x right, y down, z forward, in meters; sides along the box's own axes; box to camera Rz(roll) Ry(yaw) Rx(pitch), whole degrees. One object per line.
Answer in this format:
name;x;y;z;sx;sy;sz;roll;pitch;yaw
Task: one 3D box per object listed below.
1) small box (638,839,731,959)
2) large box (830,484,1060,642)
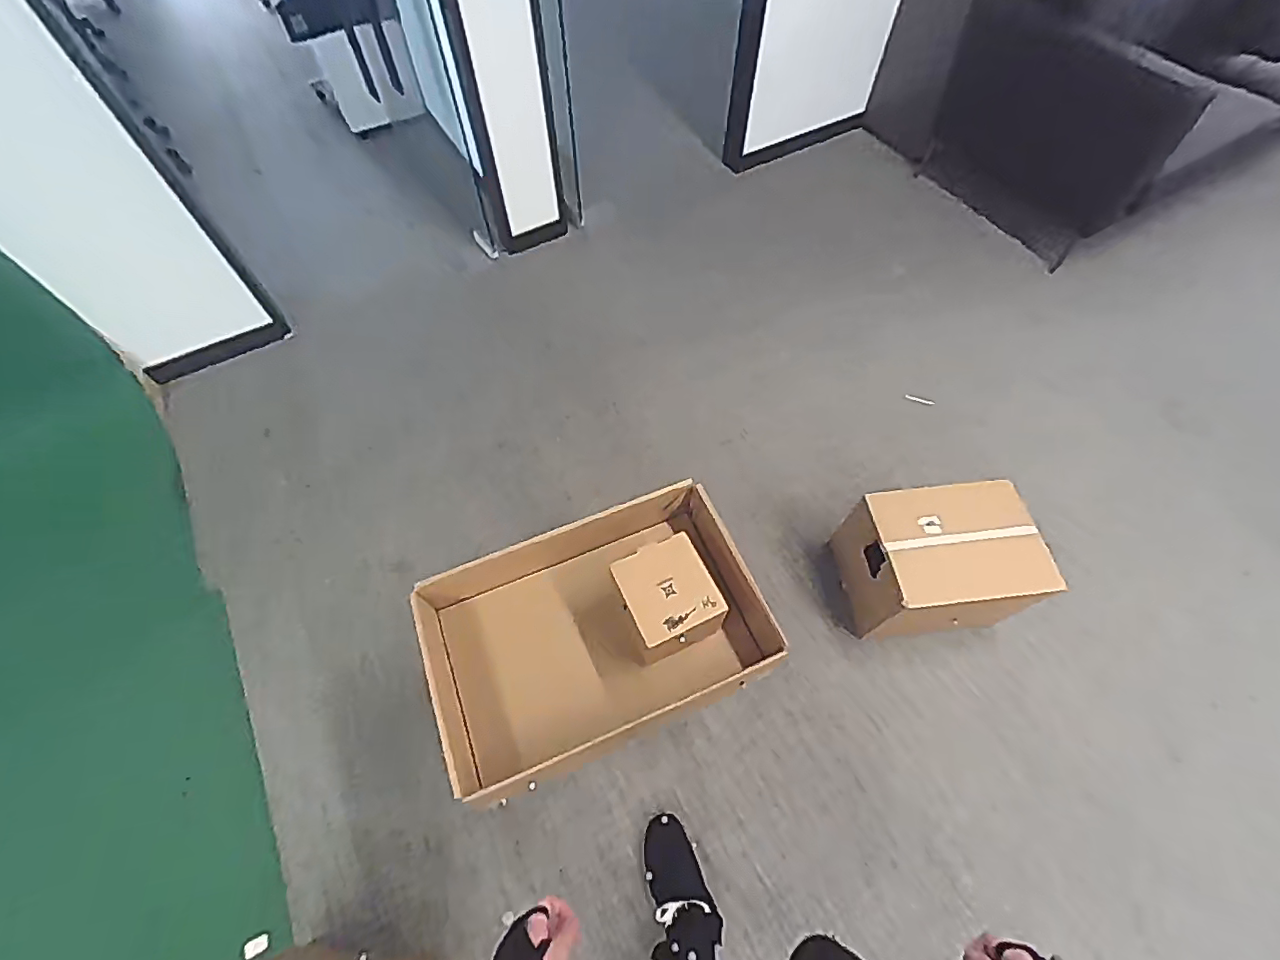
small box;0.097;0.920;1.197;0.168;0.176;0.179;11;58;10
large box;0.797;0.236;1.482;0.408;0.320;0.320;-6;60;-3
